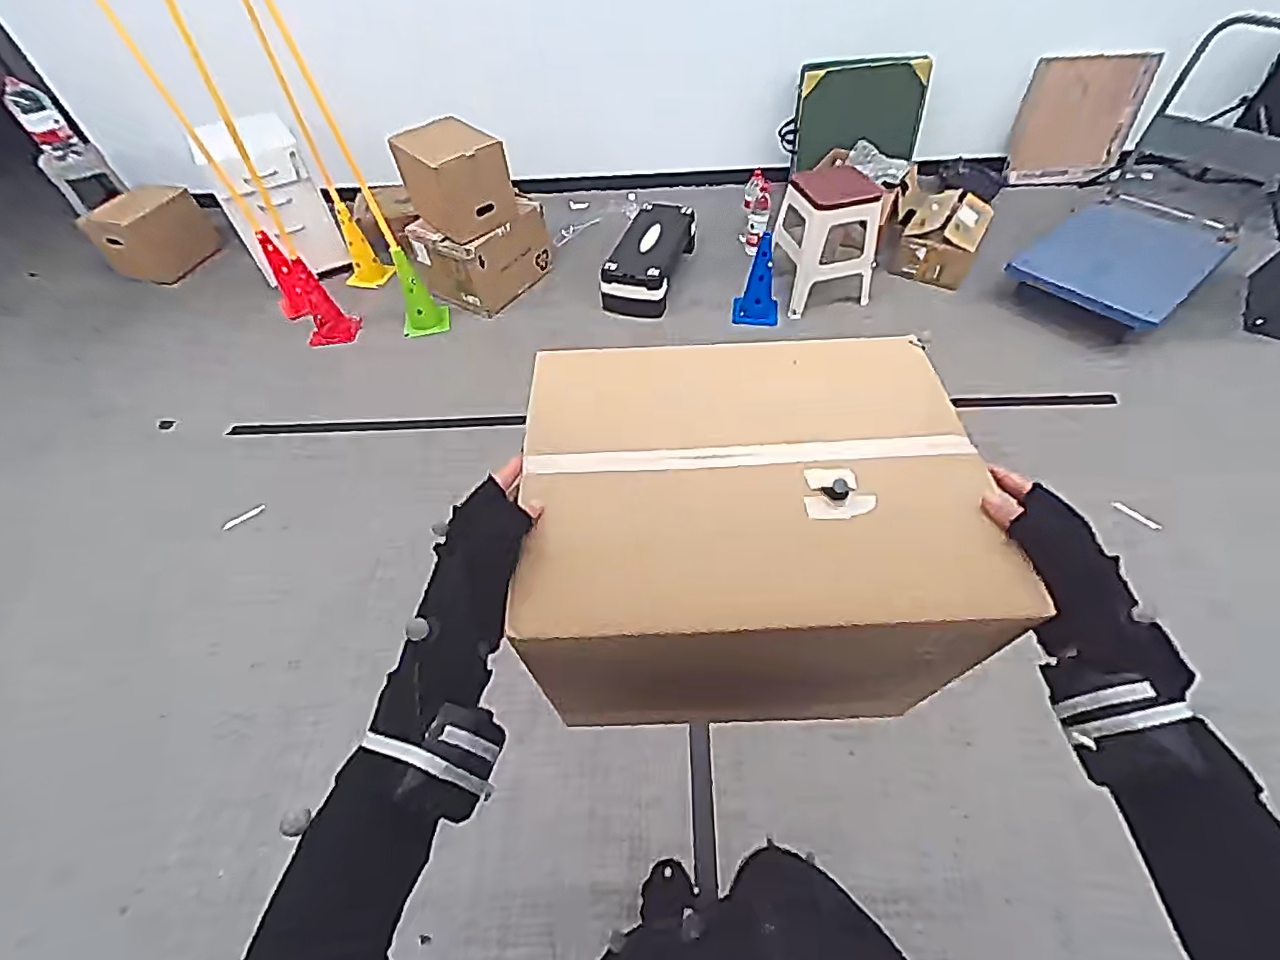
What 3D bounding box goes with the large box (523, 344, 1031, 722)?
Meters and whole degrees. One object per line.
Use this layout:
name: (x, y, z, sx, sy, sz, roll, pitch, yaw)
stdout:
large box: (0.100, 0.071, 0.619, 0.408, 0.320, 0.320, -2, 55, -1)
